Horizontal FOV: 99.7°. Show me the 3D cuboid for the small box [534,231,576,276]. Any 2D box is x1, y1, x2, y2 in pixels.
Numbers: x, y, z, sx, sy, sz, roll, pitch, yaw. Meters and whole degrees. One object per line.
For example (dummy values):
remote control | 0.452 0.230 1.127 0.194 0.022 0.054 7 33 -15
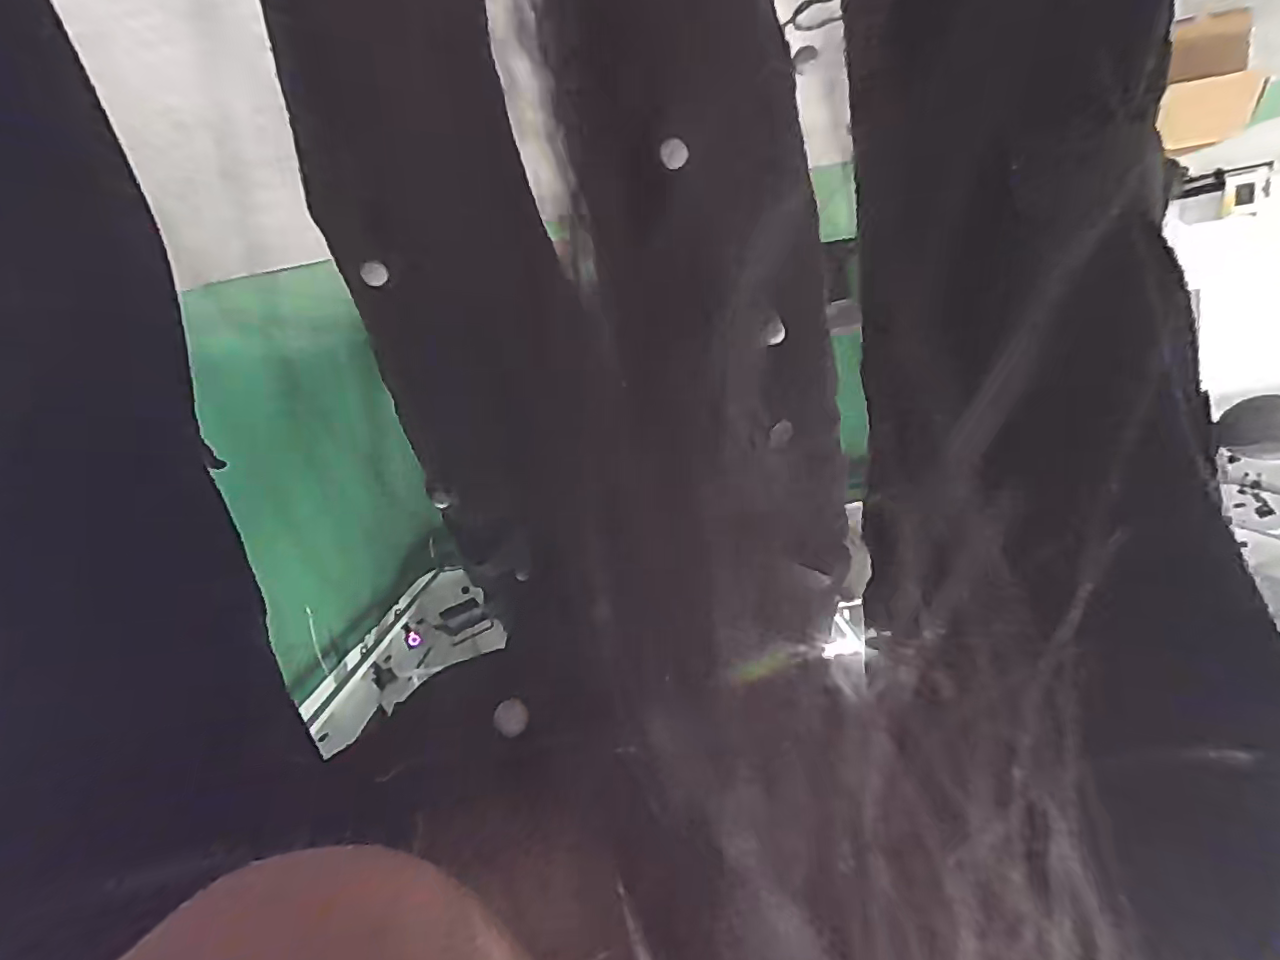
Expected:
small box | -0.433 -1.151 2.748 0.179 0.176 0.168 -11 -165 0
